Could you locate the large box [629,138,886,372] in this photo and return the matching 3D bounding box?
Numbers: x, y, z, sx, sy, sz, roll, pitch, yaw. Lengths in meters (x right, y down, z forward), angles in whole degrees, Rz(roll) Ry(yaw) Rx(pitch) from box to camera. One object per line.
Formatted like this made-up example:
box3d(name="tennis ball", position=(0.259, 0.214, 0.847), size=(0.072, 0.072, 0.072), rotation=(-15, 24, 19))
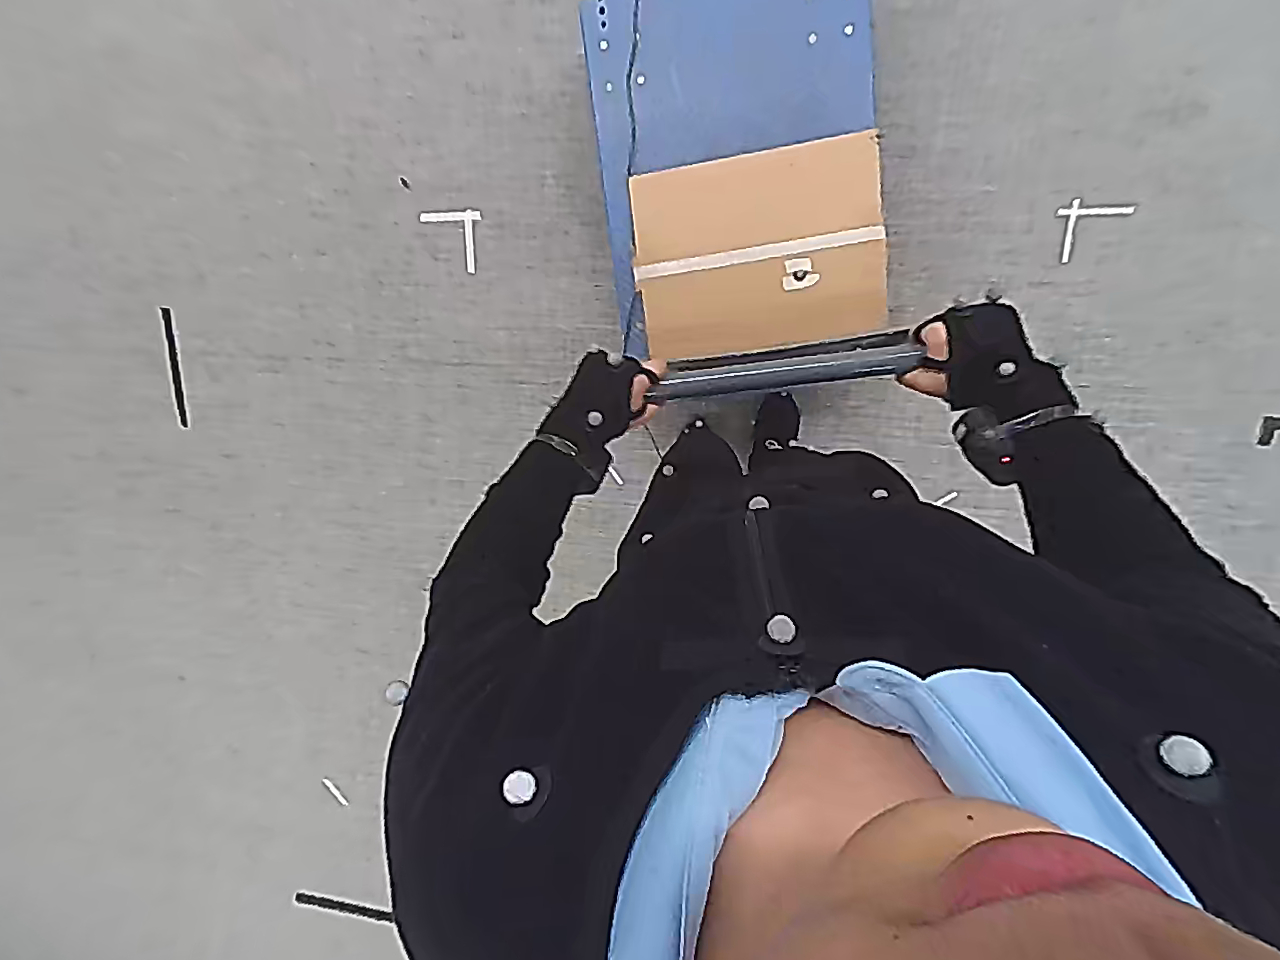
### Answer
box3d(name="large box", position=(0.214, -0.392, 1.044), size=(0.408, 0.320, 0.320), rotation=(-5, 101, 9))
